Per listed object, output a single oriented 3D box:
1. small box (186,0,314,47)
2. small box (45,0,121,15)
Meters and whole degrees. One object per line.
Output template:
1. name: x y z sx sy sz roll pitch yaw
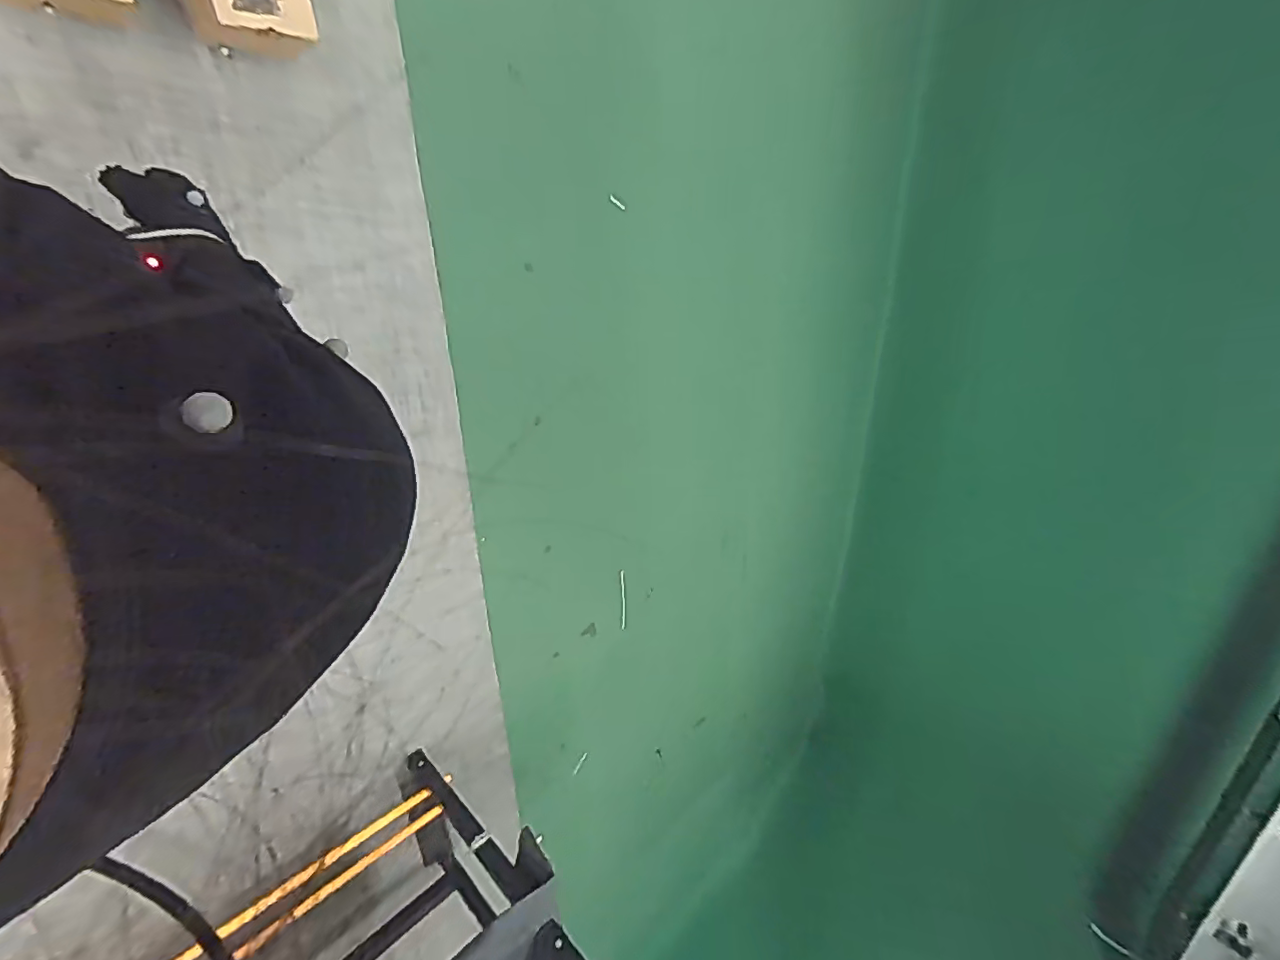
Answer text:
1. small box: -0.734 -0.931 0.993 0.168 0.176 0.179 -24 123 -40
2. small box: -0.921 -0.855 0.817 0.168 0.176 0.179 -21 121 -42
